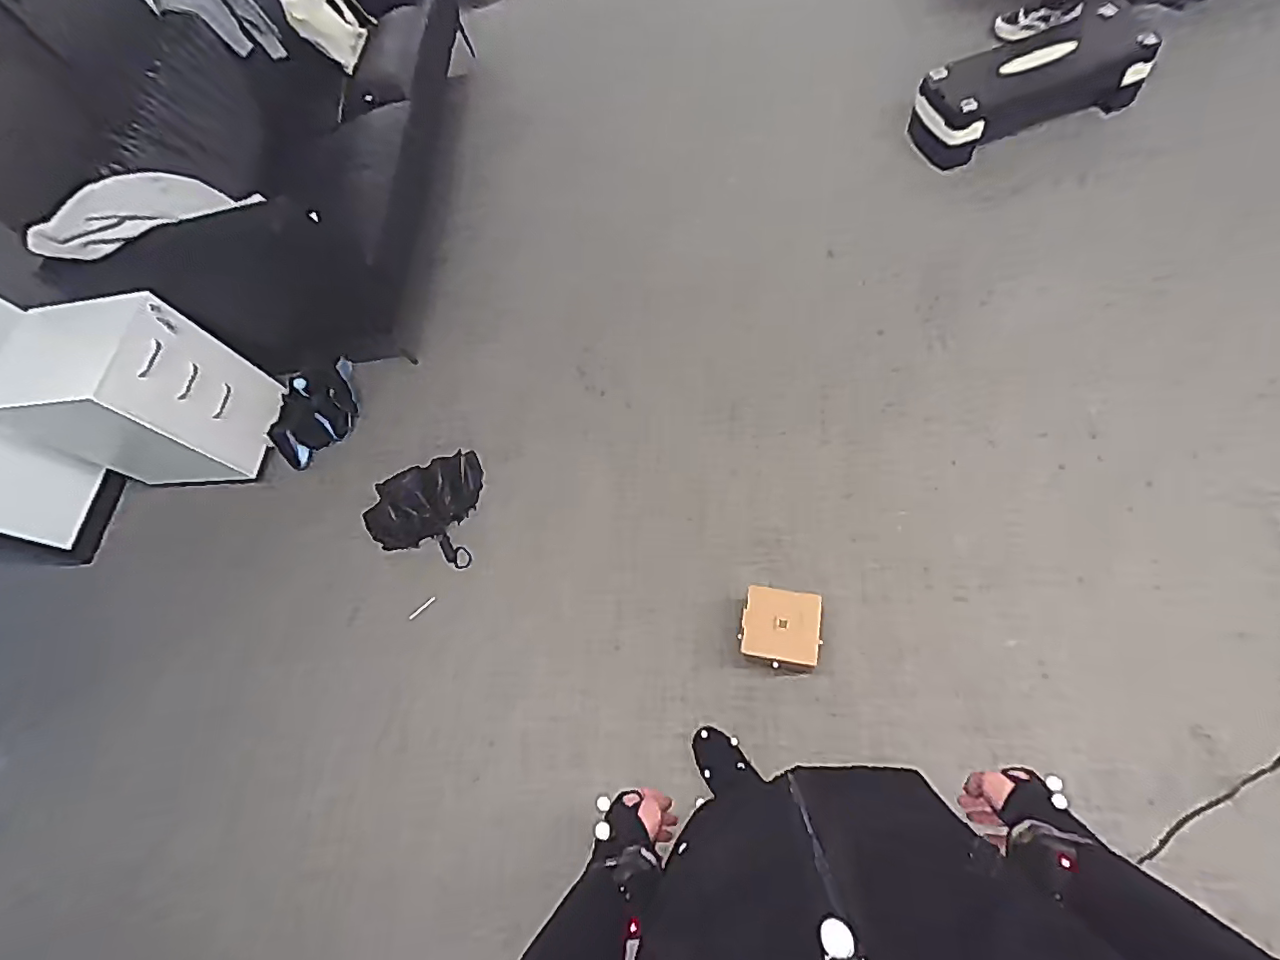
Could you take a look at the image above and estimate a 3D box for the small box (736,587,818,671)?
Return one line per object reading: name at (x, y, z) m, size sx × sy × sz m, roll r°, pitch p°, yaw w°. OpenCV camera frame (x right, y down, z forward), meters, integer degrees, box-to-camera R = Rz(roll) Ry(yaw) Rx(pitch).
small box at (0.345, 0.380, 1.366) m, size 0.179 × 0.176 × 0.168 m, roll 6°, pitch 69°, yaw 15°
